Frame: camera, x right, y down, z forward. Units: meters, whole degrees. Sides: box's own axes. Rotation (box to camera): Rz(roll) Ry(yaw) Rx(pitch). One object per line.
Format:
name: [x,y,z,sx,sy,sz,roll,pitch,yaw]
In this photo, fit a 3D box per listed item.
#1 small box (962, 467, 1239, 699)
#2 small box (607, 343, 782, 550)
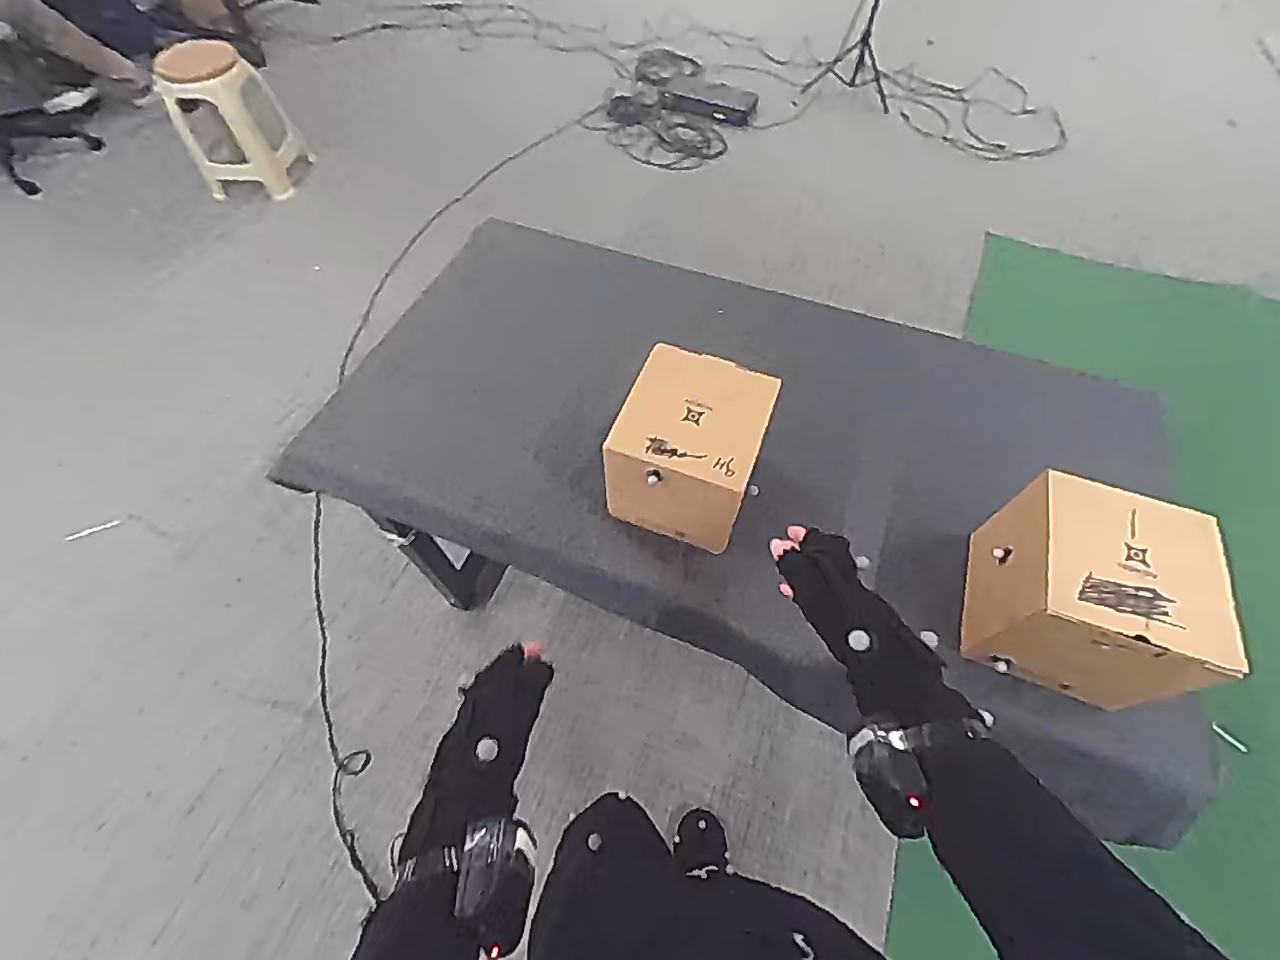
small box: [0.487,0.121,0.603,0.168,0.176,0.179,19,59,11]
small box: [0.065,-0.039,0.697,0.168,0.176,0.179,19,60,11]
